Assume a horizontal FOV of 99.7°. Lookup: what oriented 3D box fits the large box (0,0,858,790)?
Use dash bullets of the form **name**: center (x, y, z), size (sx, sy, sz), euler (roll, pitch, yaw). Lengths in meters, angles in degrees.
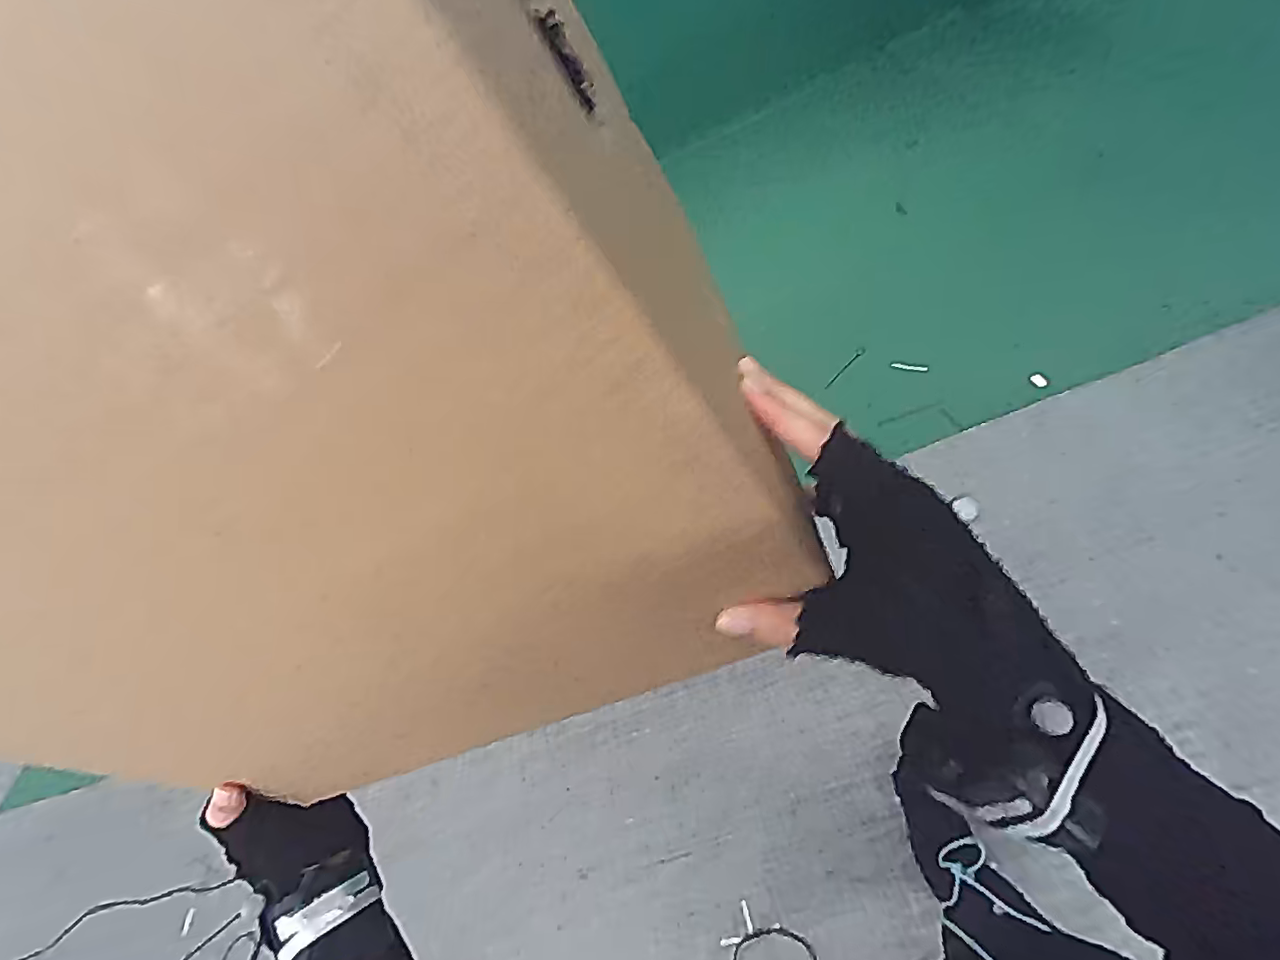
- **large box**: center (-0.147, -0.053, 0.329), size (0.408, 0.320, 0.320), euler (-25, 45, 17)
